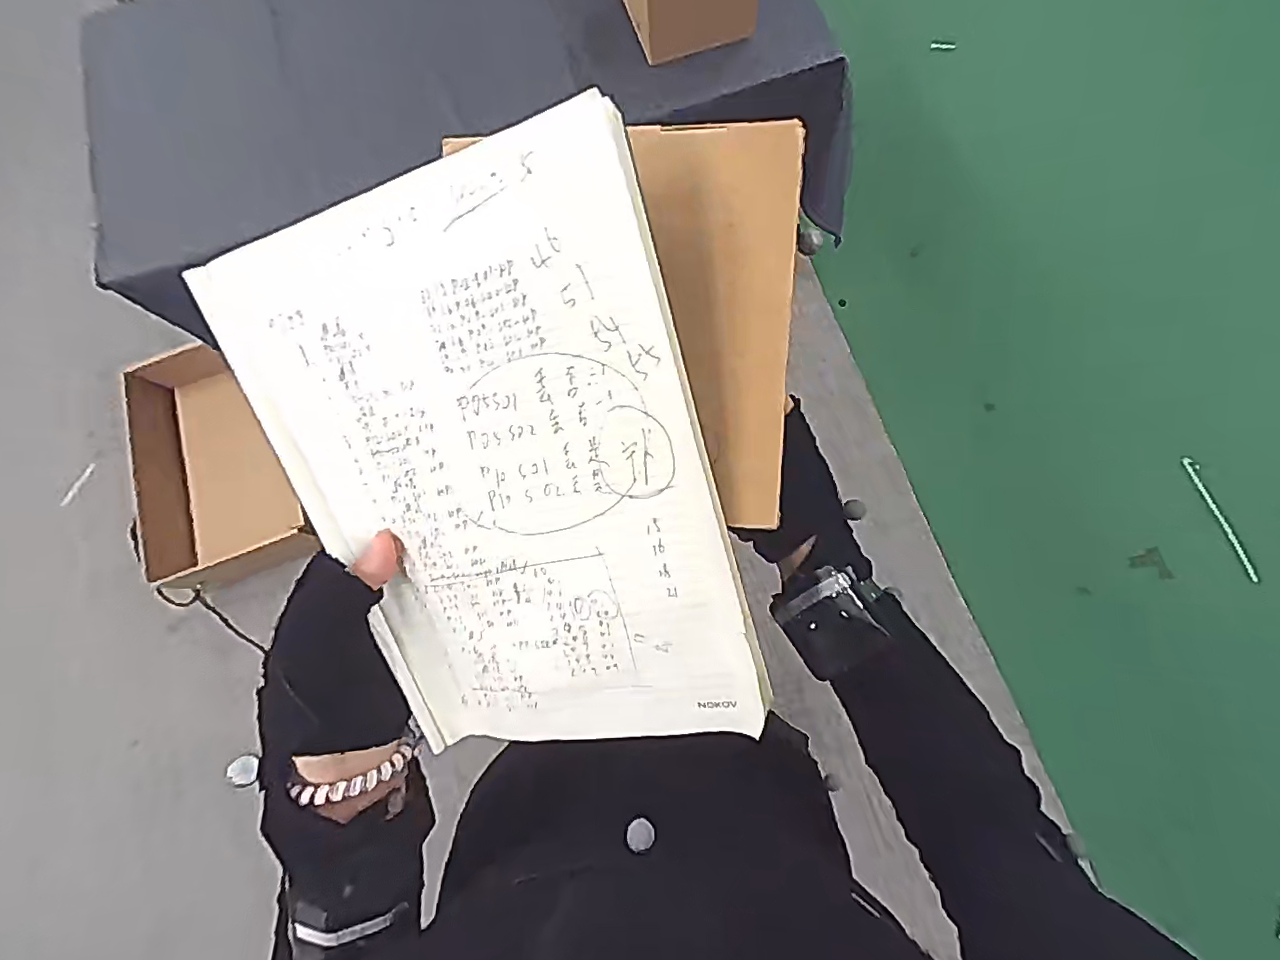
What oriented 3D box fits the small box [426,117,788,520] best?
[{"bbox_3d":[-0.006,-0.076,0.327,0.168,0.176,0.179,3,92,10],"label":"small box"}]
